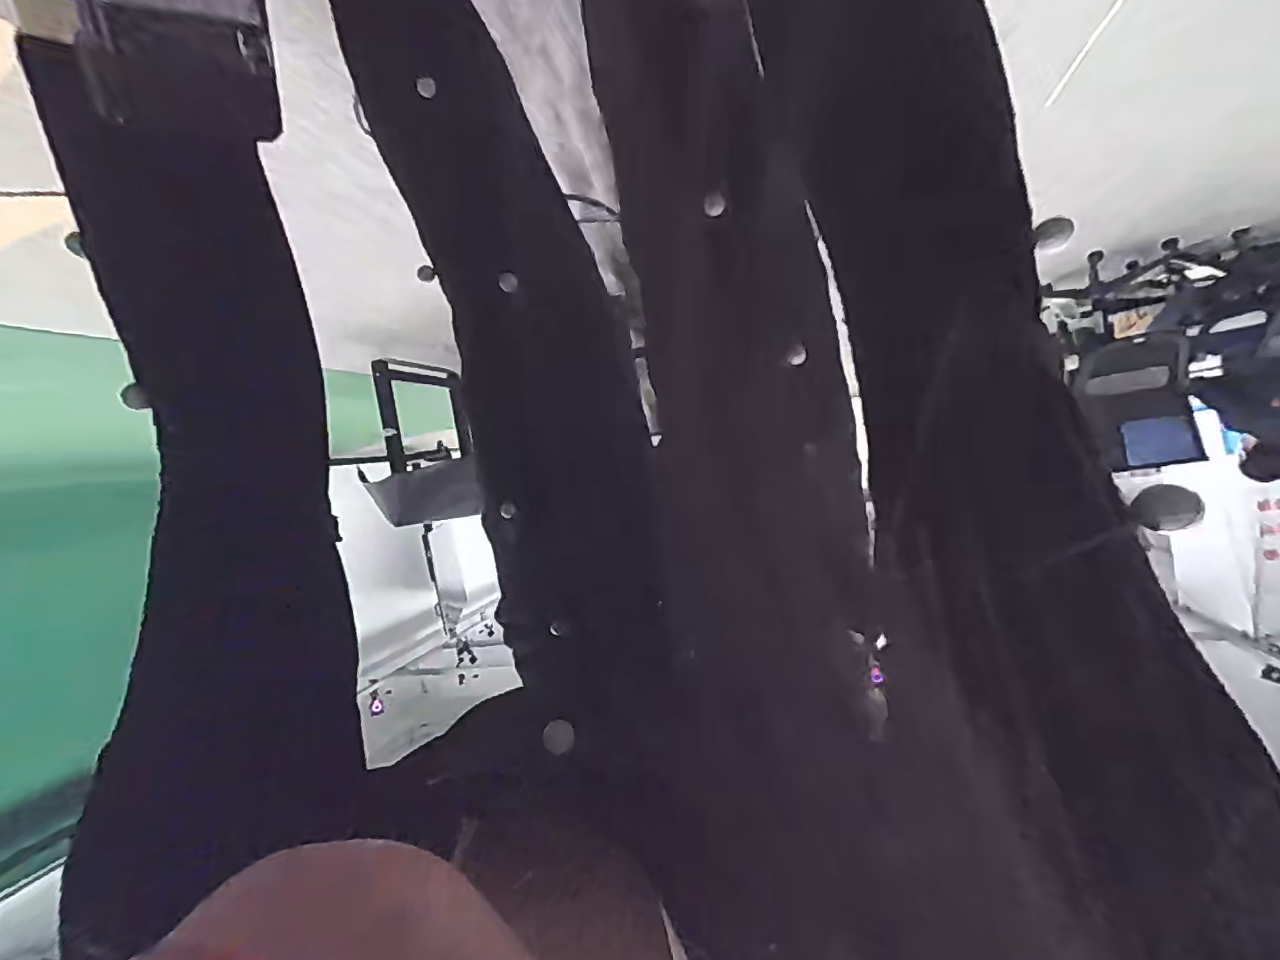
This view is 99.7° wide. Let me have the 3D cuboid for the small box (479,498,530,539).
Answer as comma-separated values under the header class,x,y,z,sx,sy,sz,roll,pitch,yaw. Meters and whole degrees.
class,x,y,z,sx,sy,sz,roll,pitch,yaw
small box,-0.656,0.183,2.606,0.179,0.176,0.168,-10,-179,17
